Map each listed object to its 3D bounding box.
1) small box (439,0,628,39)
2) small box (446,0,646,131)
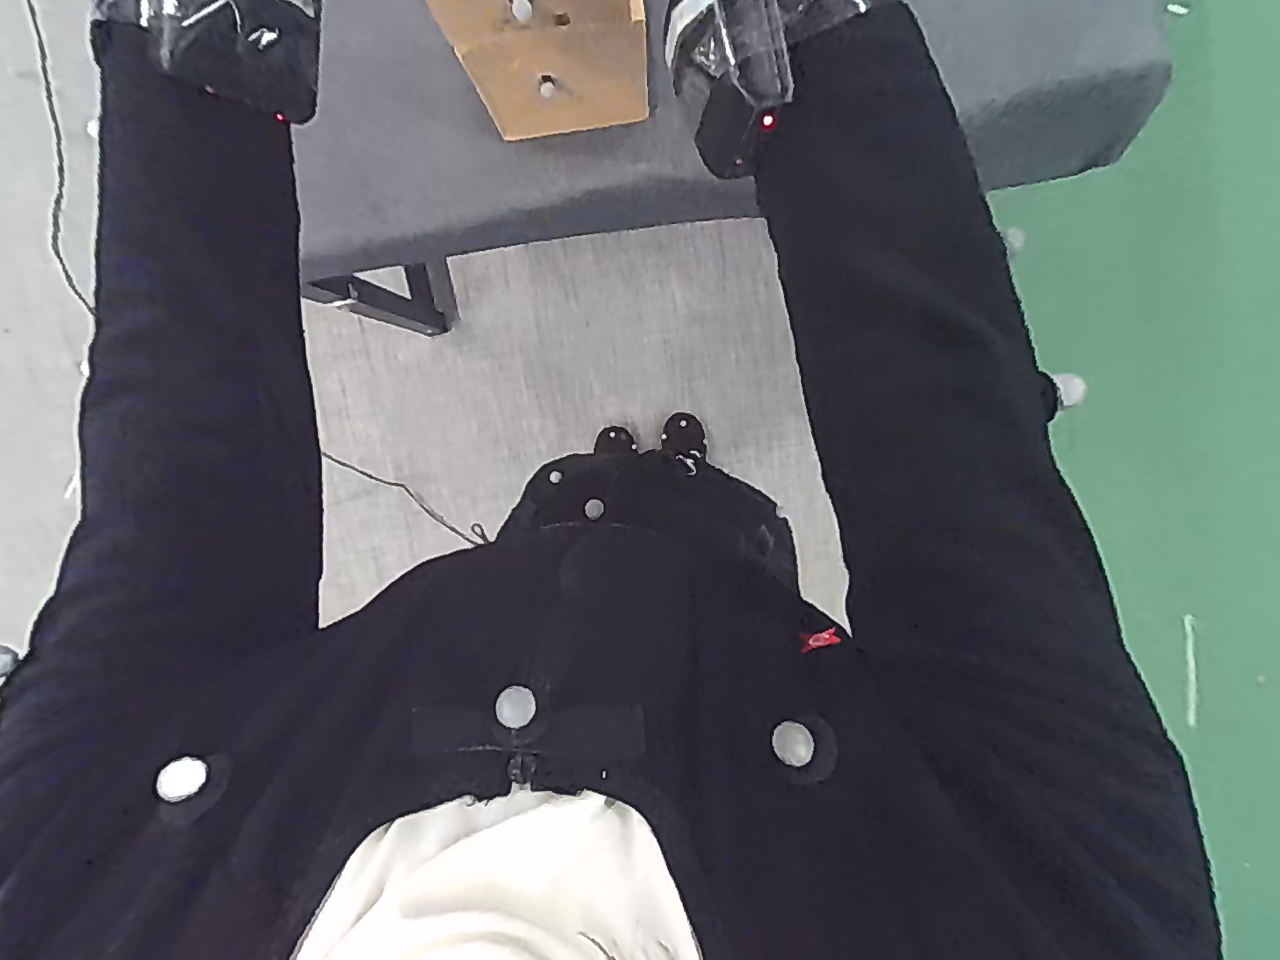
[{"bbox_3d":[-0.097,-0.472,0.389,0.168,0.176,0.179,-3,97,3],"label":"small box"},{"bbox_3d":[-0.091,-0.490,0.553,0.179,0.176,0.168,-7,97,3],"label":"small box"}]
